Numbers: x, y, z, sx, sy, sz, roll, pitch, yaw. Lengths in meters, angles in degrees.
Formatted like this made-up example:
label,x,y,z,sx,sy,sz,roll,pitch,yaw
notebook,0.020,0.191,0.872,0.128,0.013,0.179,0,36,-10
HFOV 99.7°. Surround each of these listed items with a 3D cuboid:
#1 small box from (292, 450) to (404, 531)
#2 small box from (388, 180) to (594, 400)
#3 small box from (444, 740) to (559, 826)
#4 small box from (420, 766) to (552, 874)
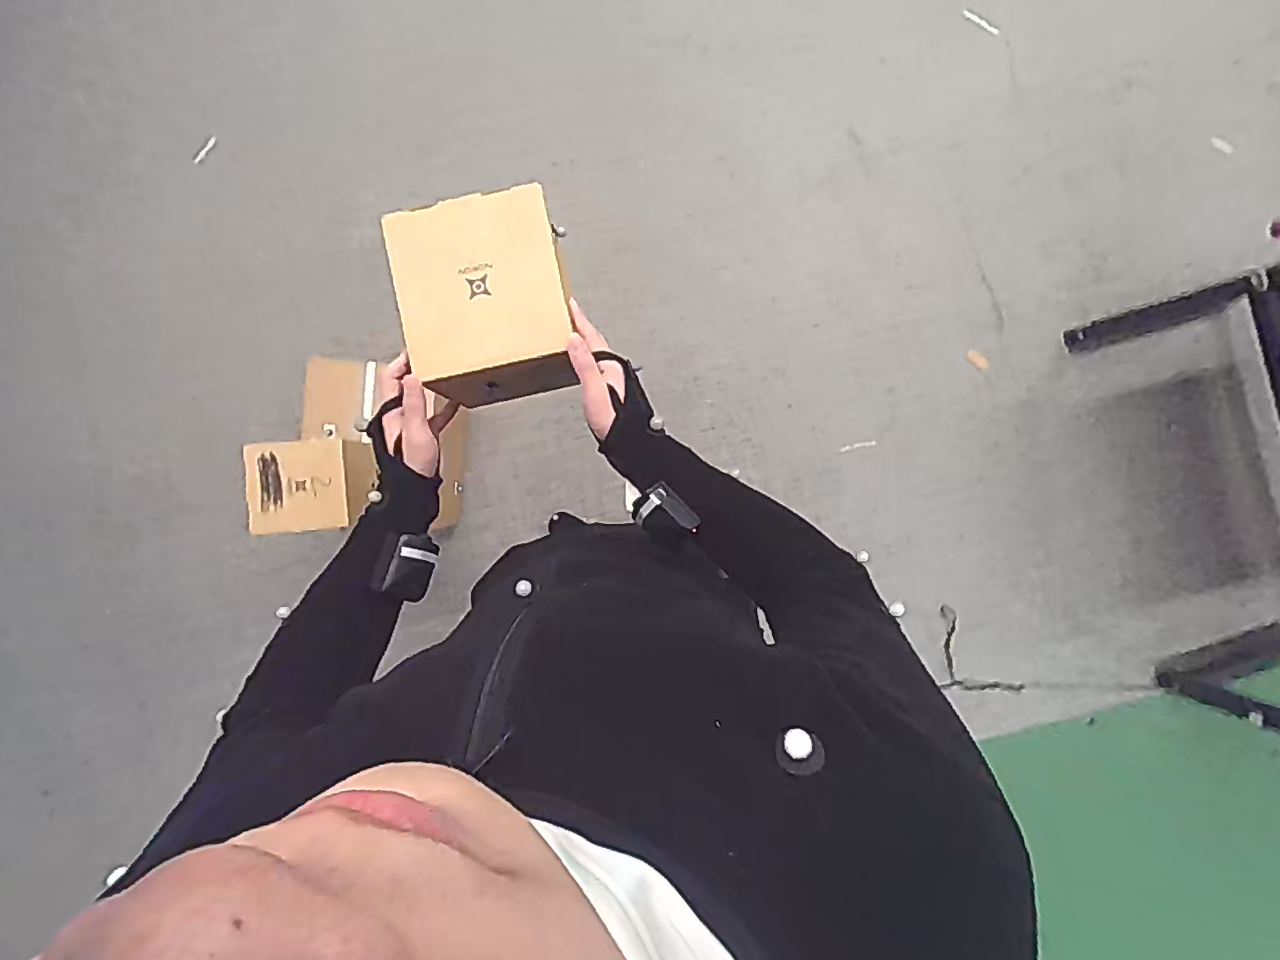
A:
label,x,y,z,sx,sy,sz,roll,pitch,yaw
small box,-0.644,0.022,1.216,0.179,0.176,0.168,-4,89,-4
small box,-0.152,-0.195,0.612,0.168,0.176,0.179,-12,87,0
small box,-0.304,0.726,1.228,0.179,0.176,0.168,42,88,-2
small box,-0.290,0.718,1.066,0.168,0.176,0.179,44,86,-3
